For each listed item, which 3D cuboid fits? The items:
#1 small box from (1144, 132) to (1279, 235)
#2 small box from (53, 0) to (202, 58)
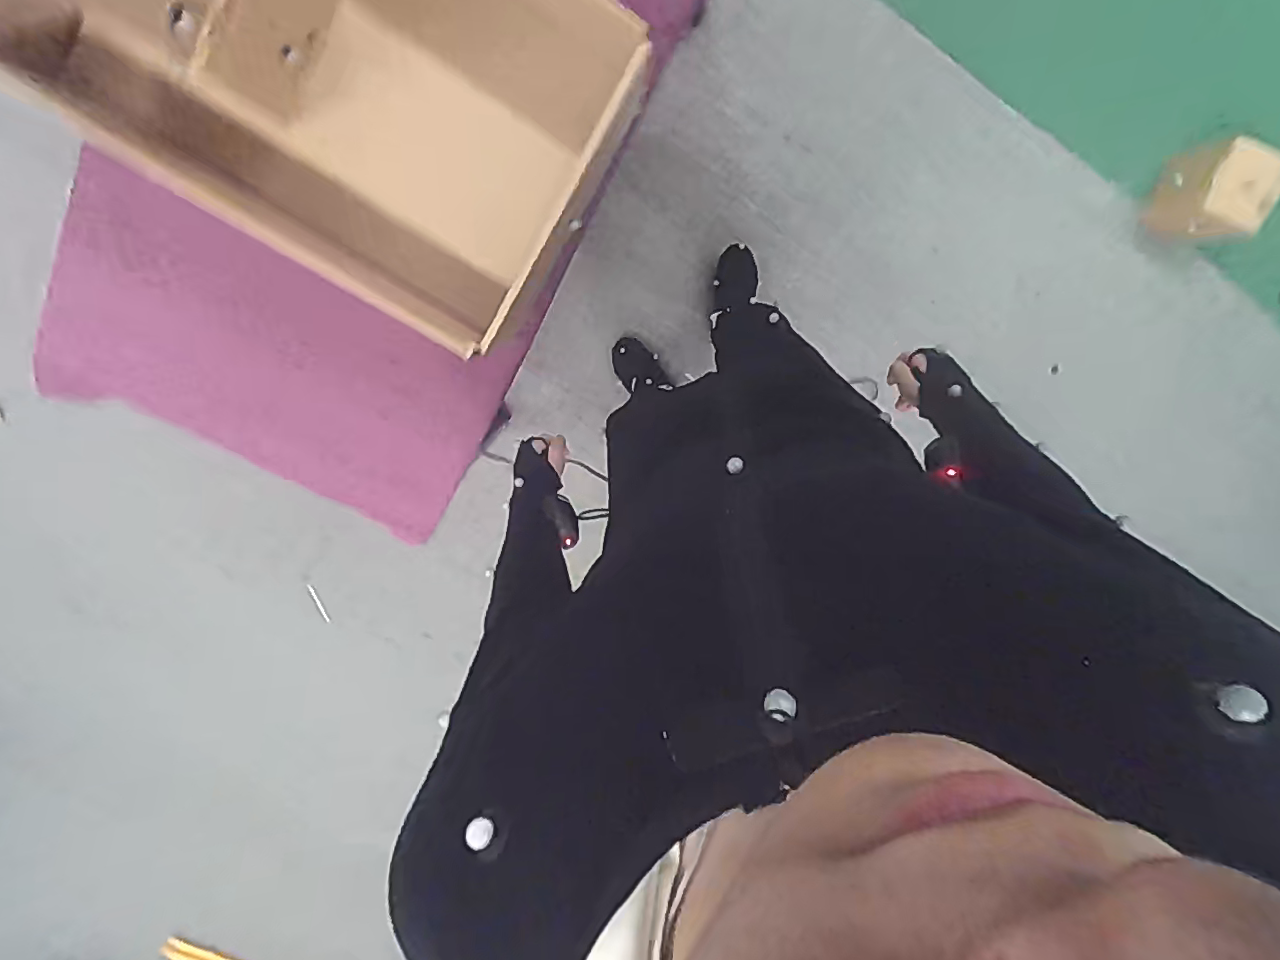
[{"bbox_3d":[1.459,-0.740,1.373,0.179,0.176,0.168,18,105,-7],"label":"small box"},{"bbox_3d":[-0.469,-0.476,0.416,0.179,0.176,0.168,27,103,-10],"label":"small box"}]
